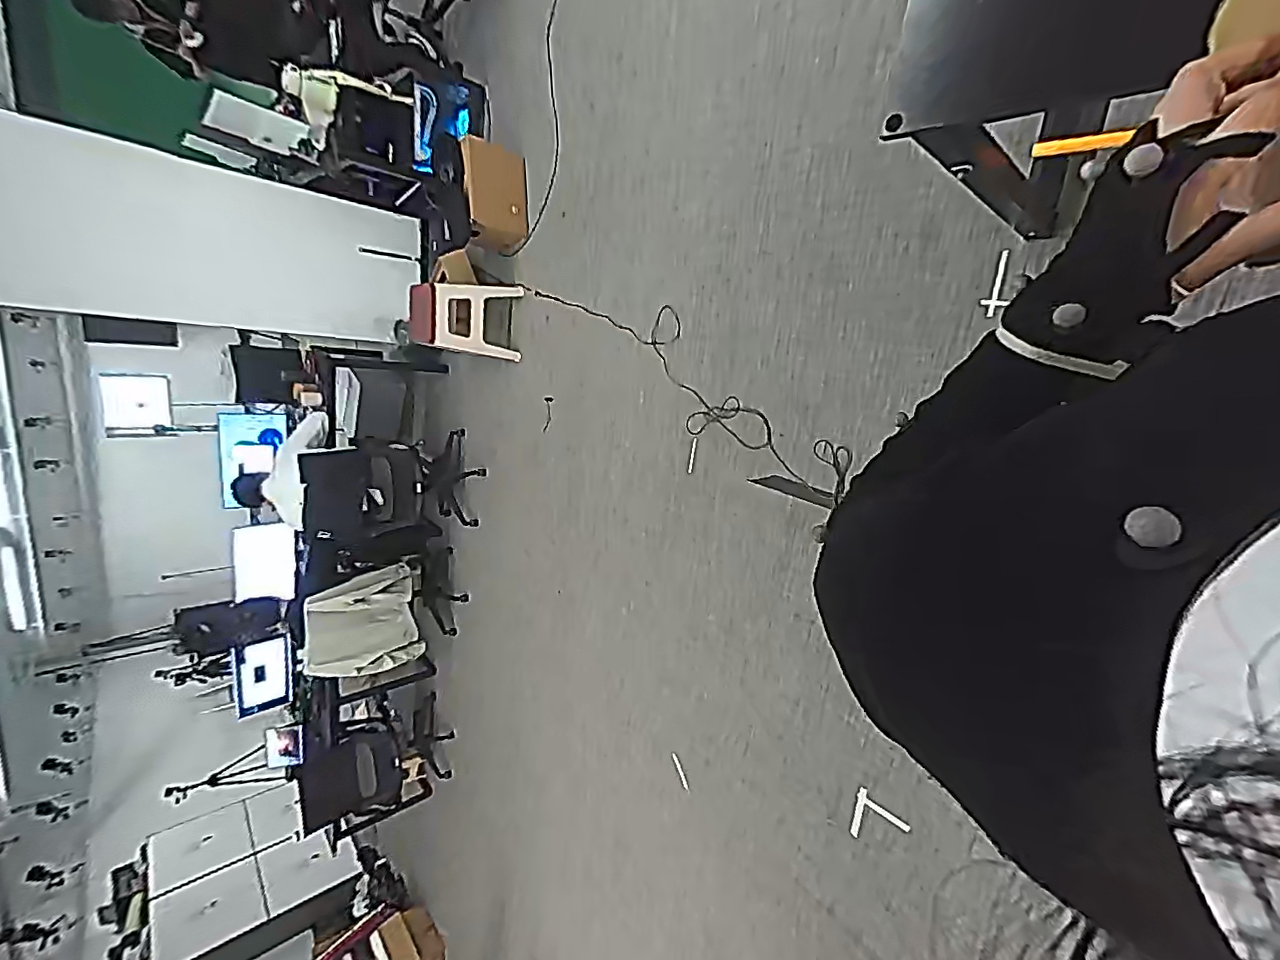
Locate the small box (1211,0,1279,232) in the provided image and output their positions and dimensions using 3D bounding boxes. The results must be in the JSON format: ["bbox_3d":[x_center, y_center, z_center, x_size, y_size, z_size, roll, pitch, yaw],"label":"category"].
[{"bbox_3d":[0.419,-0.241,0.254,0.168,0.176,0.179,-7,84,32],"label":"small box"}]
